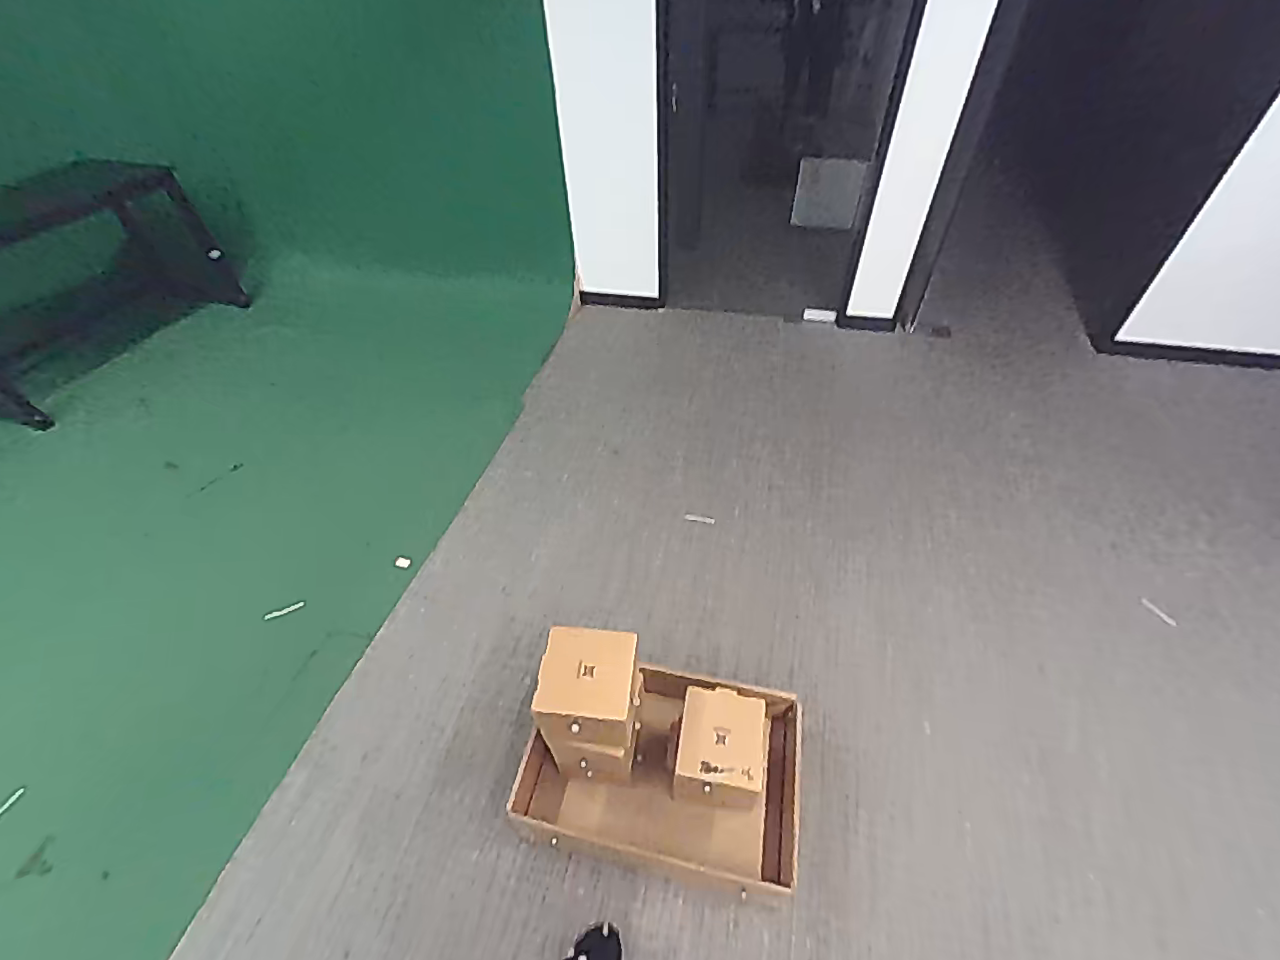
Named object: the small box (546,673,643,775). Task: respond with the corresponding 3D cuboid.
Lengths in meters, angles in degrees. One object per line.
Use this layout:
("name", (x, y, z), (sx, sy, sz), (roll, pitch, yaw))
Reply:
("small box", (-0.088, 0.521, 1.184), (0.168, 0.176, 0.179), (10, 49, 10))

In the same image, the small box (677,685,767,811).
("small box", (0.169, 0.562, 1.133), (0.168, 0.176, 0.179), (7, 47, 10))

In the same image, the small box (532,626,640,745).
("small box", (-0.095, 0.408, 1.067), (0.179, 0.176, 0.168), (4, 49, 6))

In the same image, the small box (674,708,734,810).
("small box", (0.174, 0.657, 1.268), (0.179, 0.176, 0.168), (4, 47, 7))

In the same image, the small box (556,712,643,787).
("small box", (-0.091, 0.625, 1.312), (0.179, 0.176, 0.168), (7, 48, 6))
